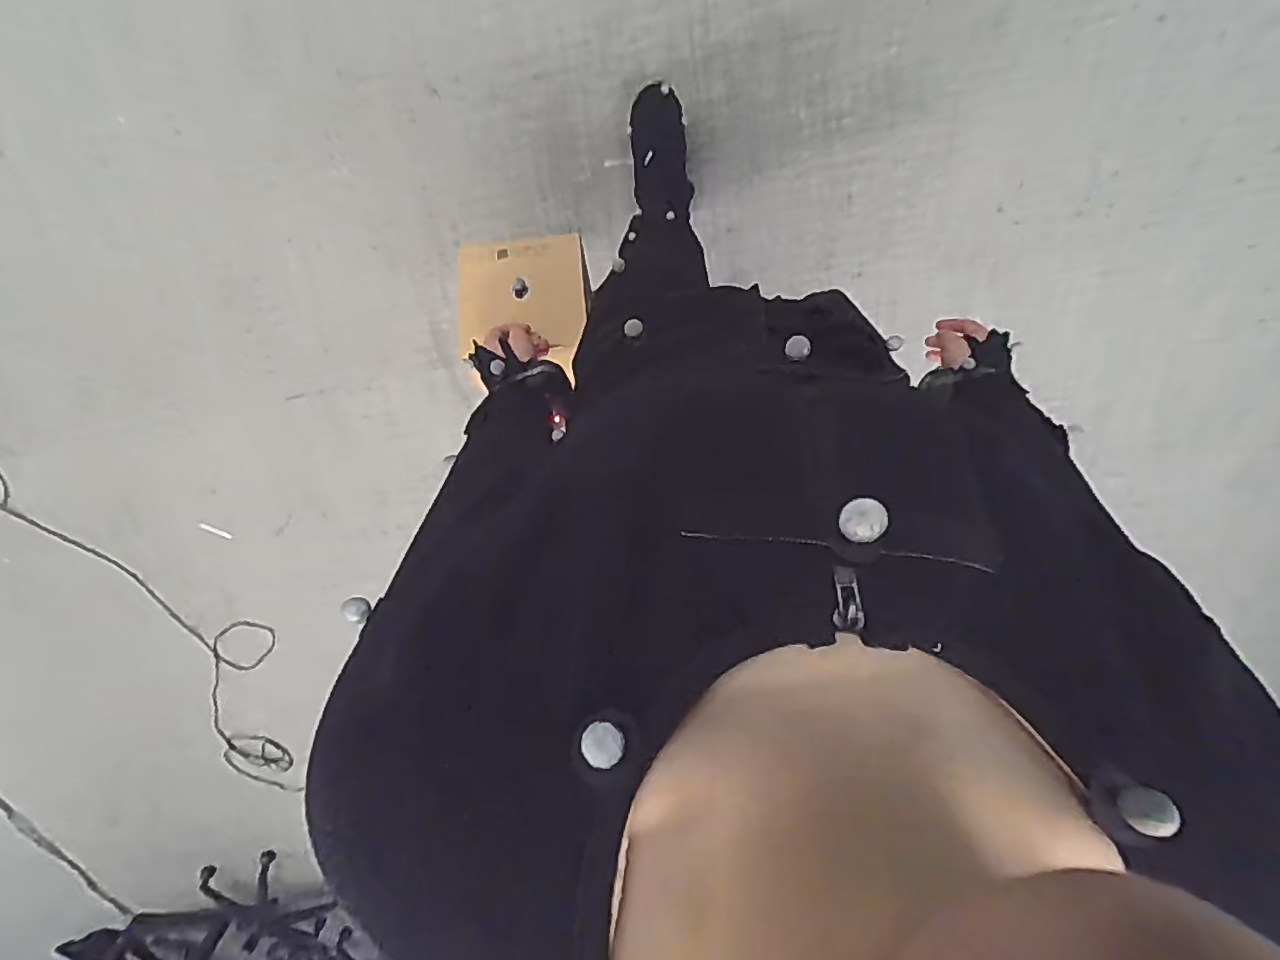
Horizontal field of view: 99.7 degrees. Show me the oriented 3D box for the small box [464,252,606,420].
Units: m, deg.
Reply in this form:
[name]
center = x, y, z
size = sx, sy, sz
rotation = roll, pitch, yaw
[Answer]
[small box]
center = -0.147, -0.207, 0.781
size = 0.168, 0.179, 0.176
rotation = -7, 73, 1
